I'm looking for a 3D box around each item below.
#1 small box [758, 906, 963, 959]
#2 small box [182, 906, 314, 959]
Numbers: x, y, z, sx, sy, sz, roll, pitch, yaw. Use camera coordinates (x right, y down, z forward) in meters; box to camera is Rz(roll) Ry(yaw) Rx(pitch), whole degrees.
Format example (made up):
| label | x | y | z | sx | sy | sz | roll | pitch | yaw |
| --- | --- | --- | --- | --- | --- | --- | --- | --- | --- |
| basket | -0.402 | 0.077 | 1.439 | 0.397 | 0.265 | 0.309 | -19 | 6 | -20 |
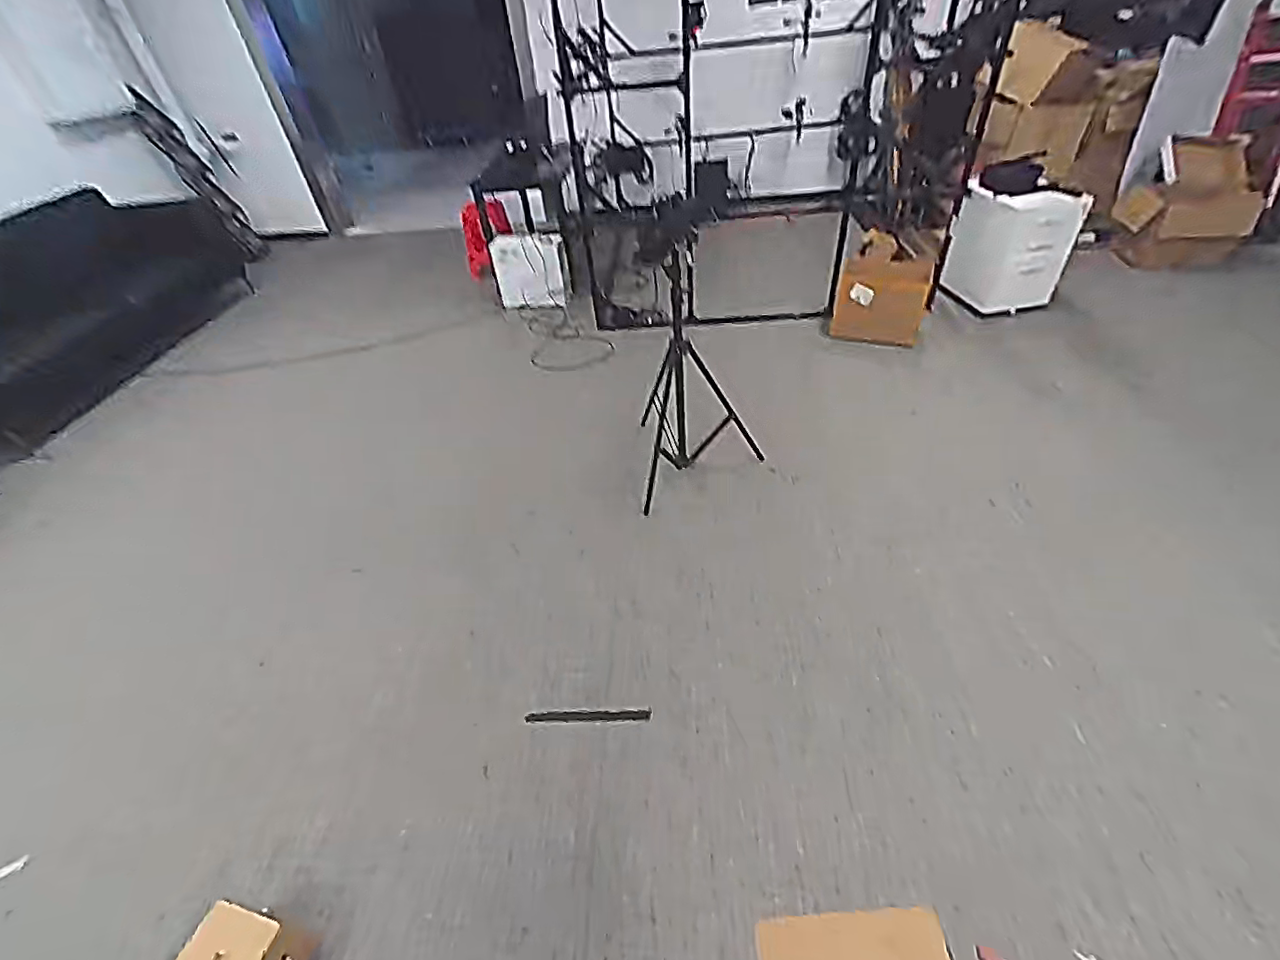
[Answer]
| label | x | y | z | sx | sy | sz | roll | pitch | yaw |
| --- | --- | --- | --- | --- | --- | --- | --- | --- | --- |
| small box | 0.213 | 0.520 | 0.477 | 0.179 | 0.176 | 0.168 | -12 | 24 | 7 |
| small box | -0.833 | 1.033 | 1.127 | 0.179 | 0.176 | 0.168 | 6 | 41 | 15 |
